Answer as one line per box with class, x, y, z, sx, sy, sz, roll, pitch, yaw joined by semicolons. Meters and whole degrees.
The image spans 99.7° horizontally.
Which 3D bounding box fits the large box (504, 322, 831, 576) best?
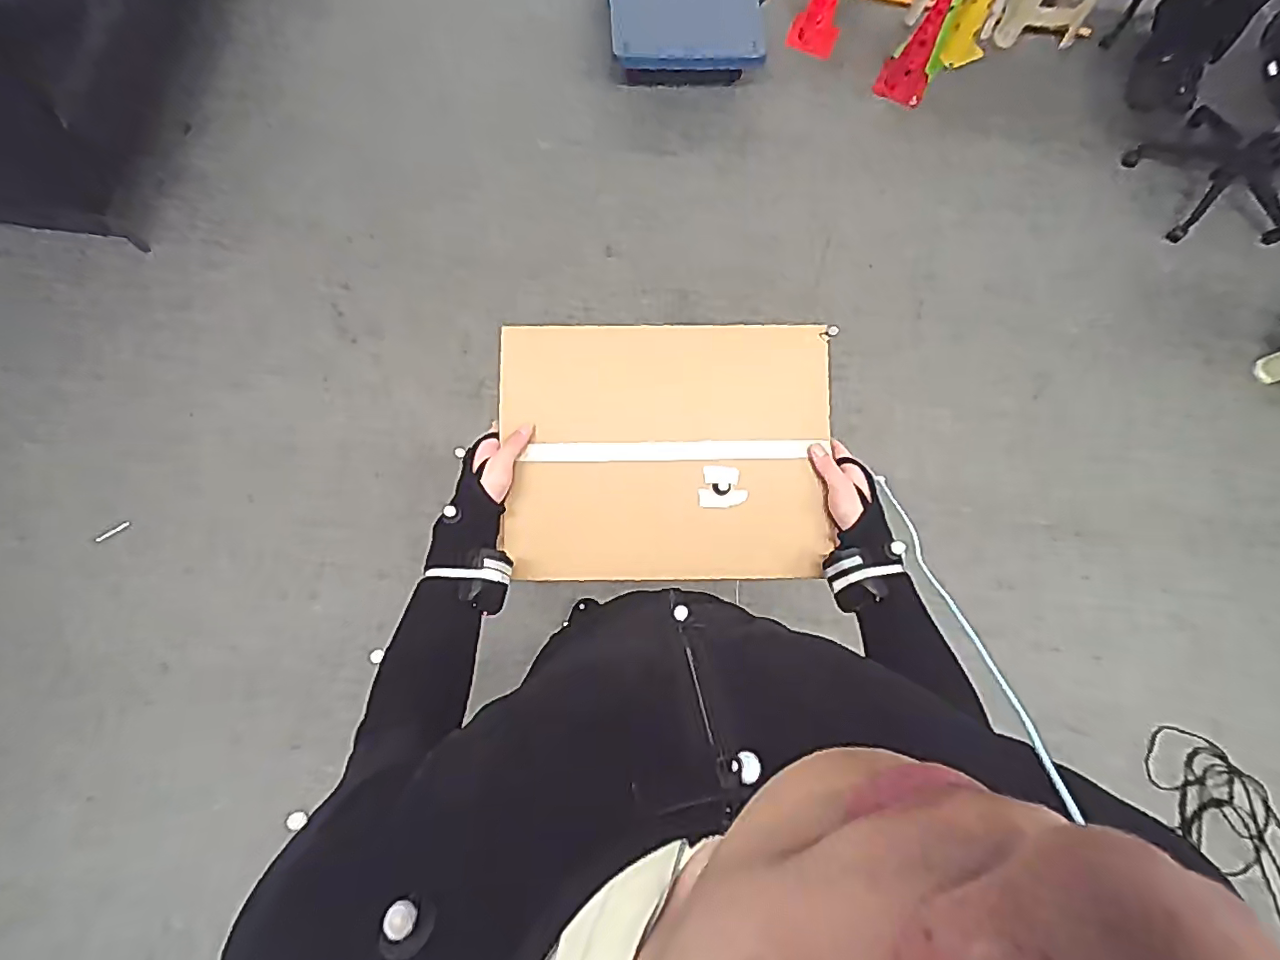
large box;0.027;-0.031;0.815;0.408;0.320;0.320;-1;86;-1
